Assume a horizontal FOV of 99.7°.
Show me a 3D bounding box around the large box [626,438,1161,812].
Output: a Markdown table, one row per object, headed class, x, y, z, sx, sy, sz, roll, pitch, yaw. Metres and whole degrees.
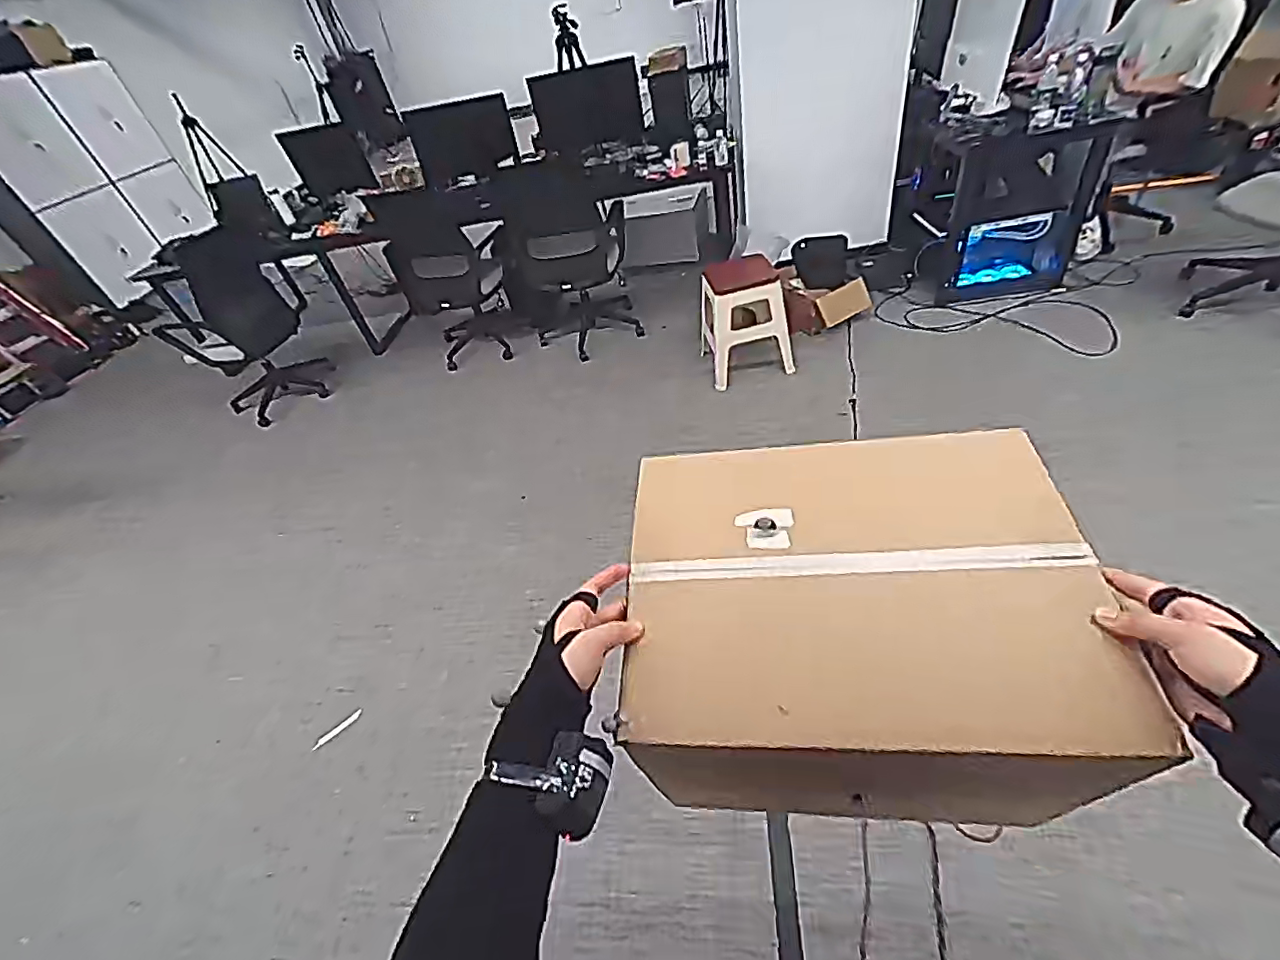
| class | x | y | z | sx | sy | sz | roll | pitch | yaw |
| --- | --- | --- | --- | --- | --- | --- | --- | --- | --- |
| large box | 0.221 | 0.184 | 0.626 | 0.408 | 0.320 | 0.320 | -5 | 49 | 11 |
